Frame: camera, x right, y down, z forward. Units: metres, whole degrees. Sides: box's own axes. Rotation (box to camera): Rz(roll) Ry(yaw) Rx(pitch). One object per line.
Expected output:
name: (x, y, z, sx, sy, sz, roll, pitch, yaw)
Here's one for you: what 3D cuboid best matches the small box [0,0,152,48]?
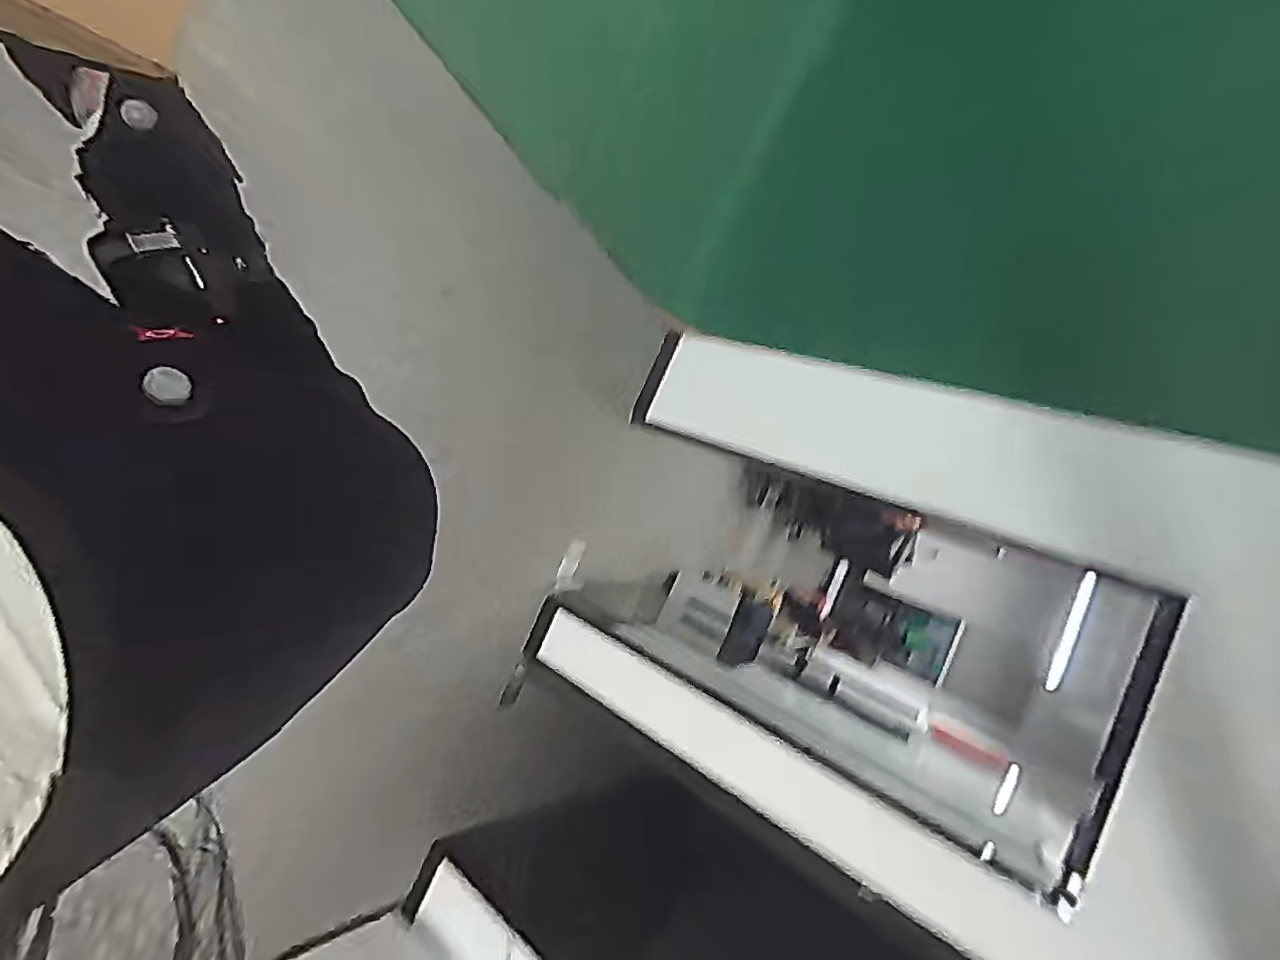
small box: (-0.208, -0.223, 0.090, 0.179, 0.176, 0.168, 0, 116, -57)
